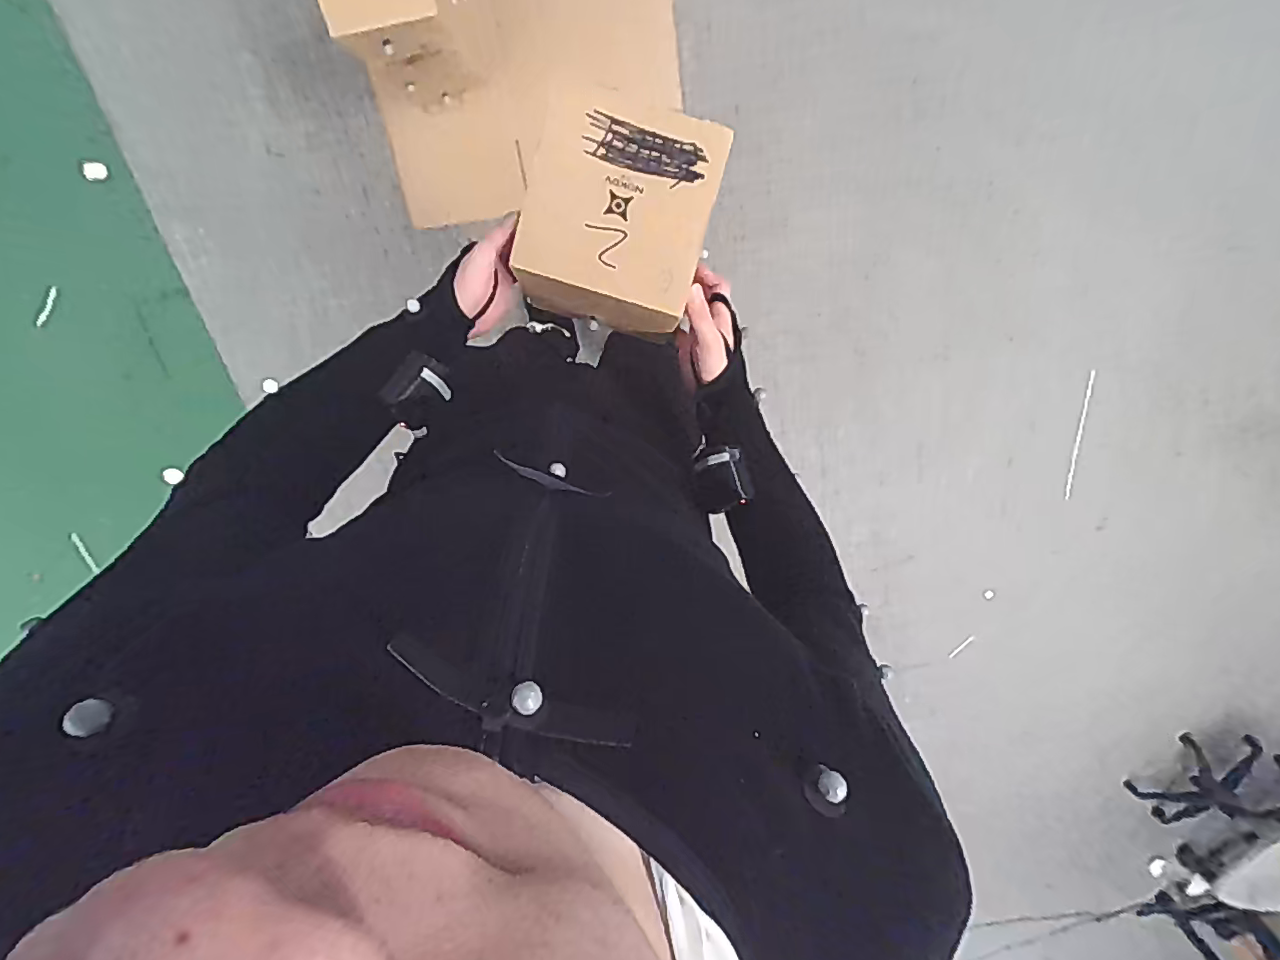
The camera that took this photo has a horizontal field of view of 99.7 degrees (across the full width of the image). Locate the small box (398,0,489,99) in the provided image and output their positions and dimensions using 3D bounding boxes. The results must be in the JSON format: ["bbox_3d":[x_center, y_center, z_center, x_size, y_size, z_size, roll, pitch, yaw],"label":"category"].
[{"bbox_3d":[-0.428,-0.919,1.109,0.168,0.176,0.179,-16,117,2],"label":"small box"}]

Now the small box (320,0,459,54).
[{"bbox_3d":[-0.392,-0.778,0.818,0.168,0.176,0.179,-12,116,0],"label":"small box"}]

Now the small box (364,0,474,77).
[{"bbox_3d":[-0.412,-0.847,0.963,0.168,0.176,0.179,-13,116,0],"label":"small box"}]
